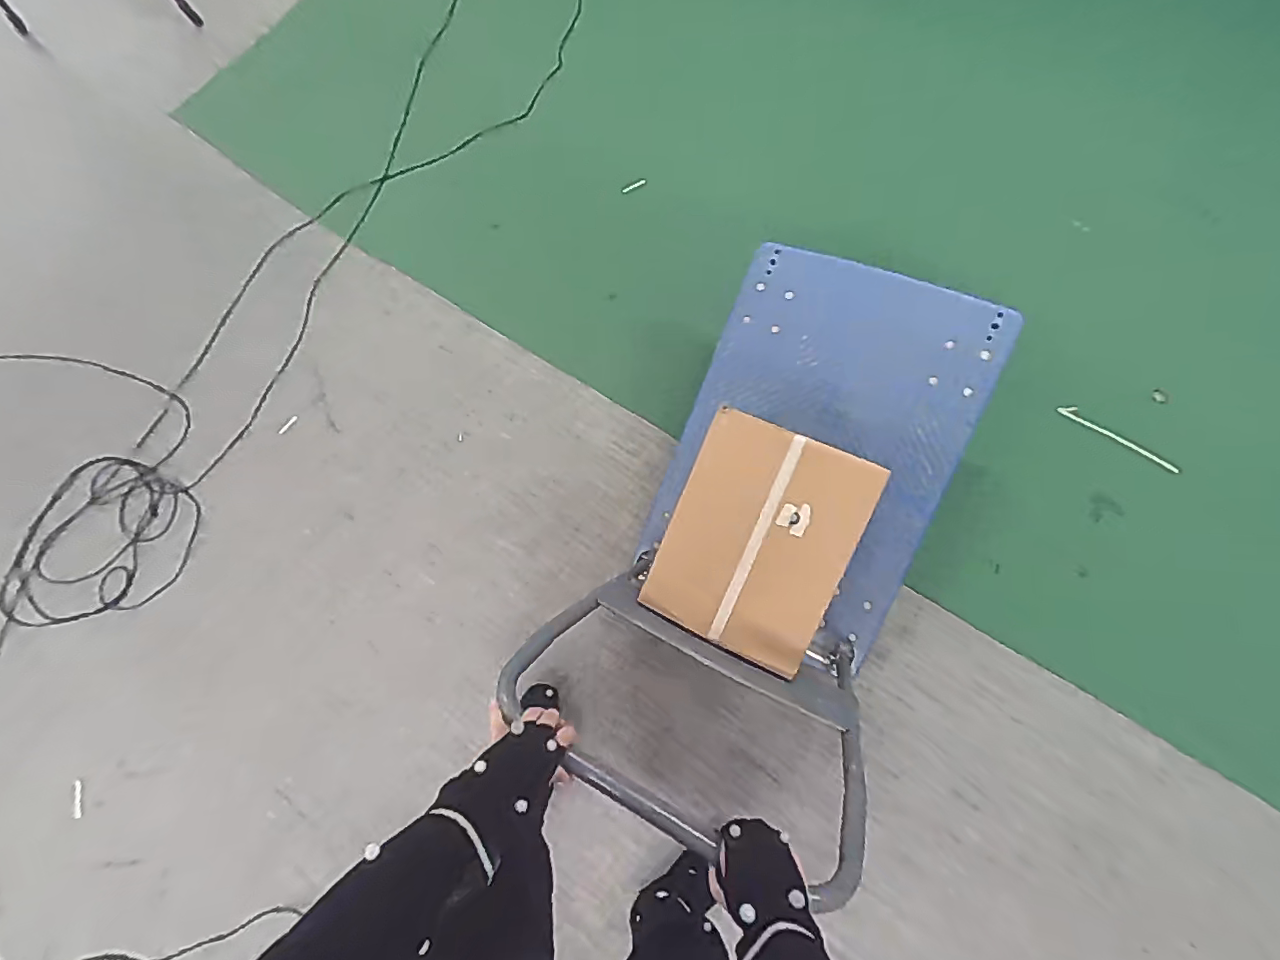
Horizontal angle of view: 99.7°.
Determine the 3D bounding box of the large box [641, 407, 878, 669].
[{"bbox_3d":[0.250,0.106,1.131,0.320,0.320,0.408,25,97,16],"label":"large box"}]
